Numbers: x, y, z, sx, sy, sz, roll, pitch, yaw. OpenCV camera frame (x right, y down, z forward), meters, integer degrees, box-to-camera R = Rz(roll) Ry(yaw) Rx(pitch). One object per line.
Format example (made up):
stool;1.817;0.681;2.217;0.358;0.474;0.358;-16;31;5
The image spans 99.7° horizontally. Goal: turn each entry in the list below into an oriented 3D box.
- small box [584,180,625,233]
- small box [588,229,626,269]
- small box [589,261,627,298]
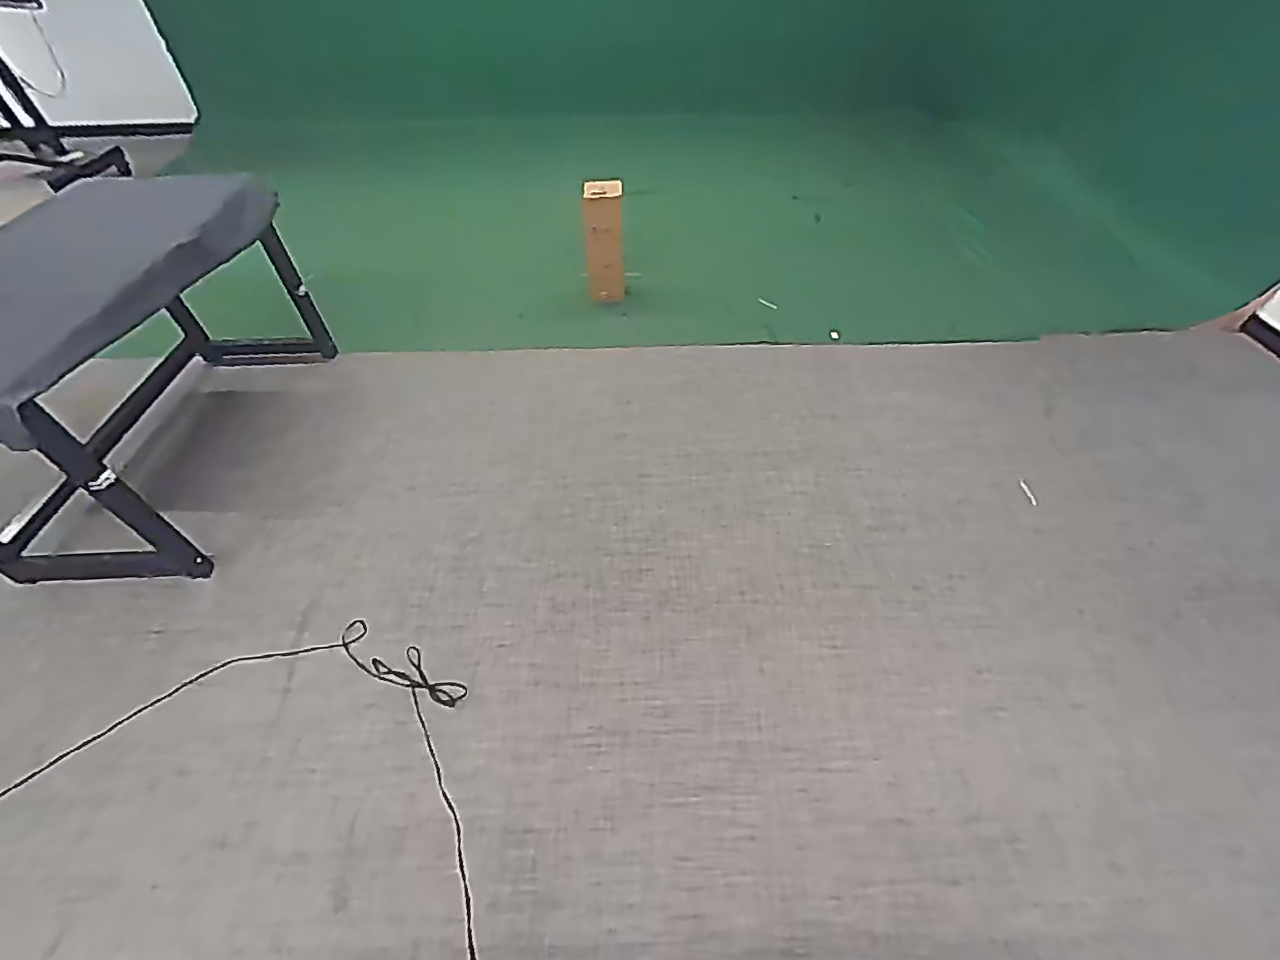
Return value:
small box;-0.155;-1.221;2.421;0.168;0.176;0.179;-2;48;0
small box;-0.153;-1.111;2.544;0.168;0.176;0.179;-1;48;1
small box;-0.154;-1.014;2.652;0.168;0.176;0.179;-1;49;3
